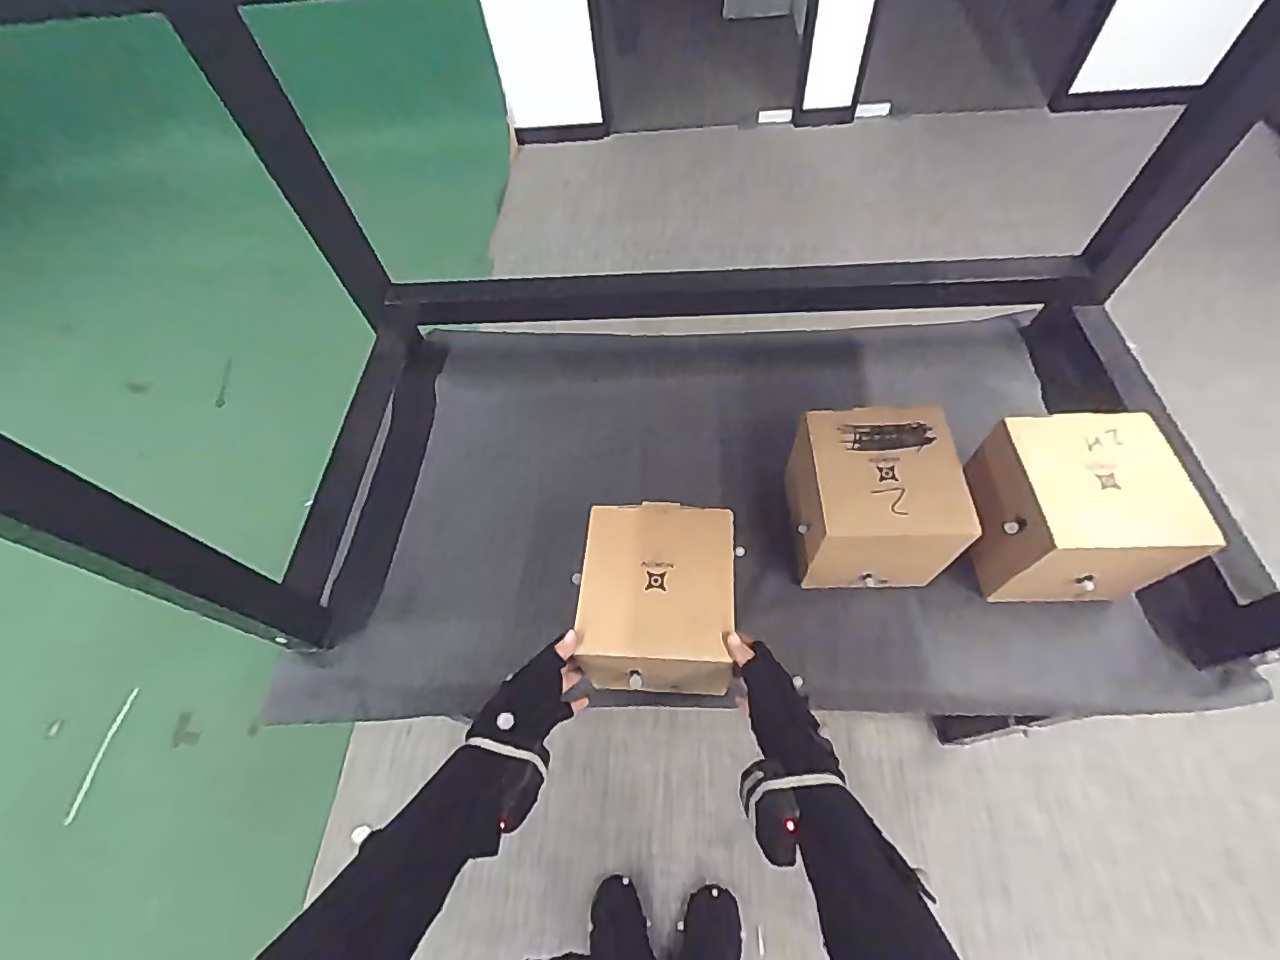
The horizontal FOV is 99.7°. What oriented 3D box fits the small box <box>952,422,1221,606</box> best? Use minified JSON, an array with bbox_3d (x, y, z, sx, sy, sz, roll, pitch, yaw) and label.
[{"bbox_3d":[0.522,0.050,0.669,0.168,0.176,0.179,-2,57,4],"label":"small box"}]
